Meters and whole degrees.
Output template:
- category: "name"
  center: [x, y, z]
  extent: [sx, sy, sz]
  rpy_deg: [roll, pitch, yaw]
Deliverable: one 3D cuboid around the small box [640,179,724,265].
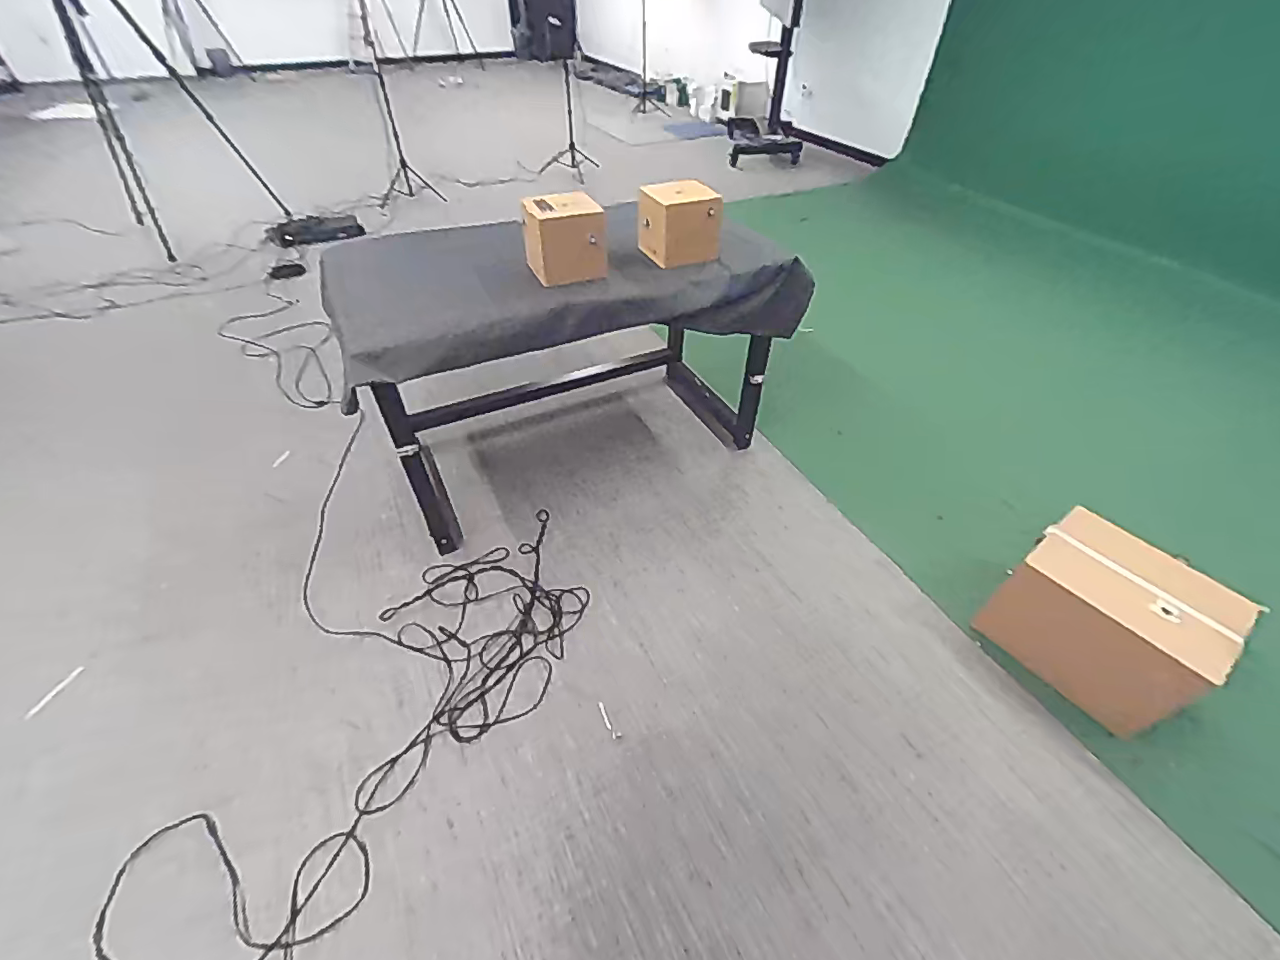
- category: "small box"
  center: [0.111, -0.709, 1.491]
  extent: [0.179, 0.176, 0.168]
  rpy_deg: [-17, 47, -18]
